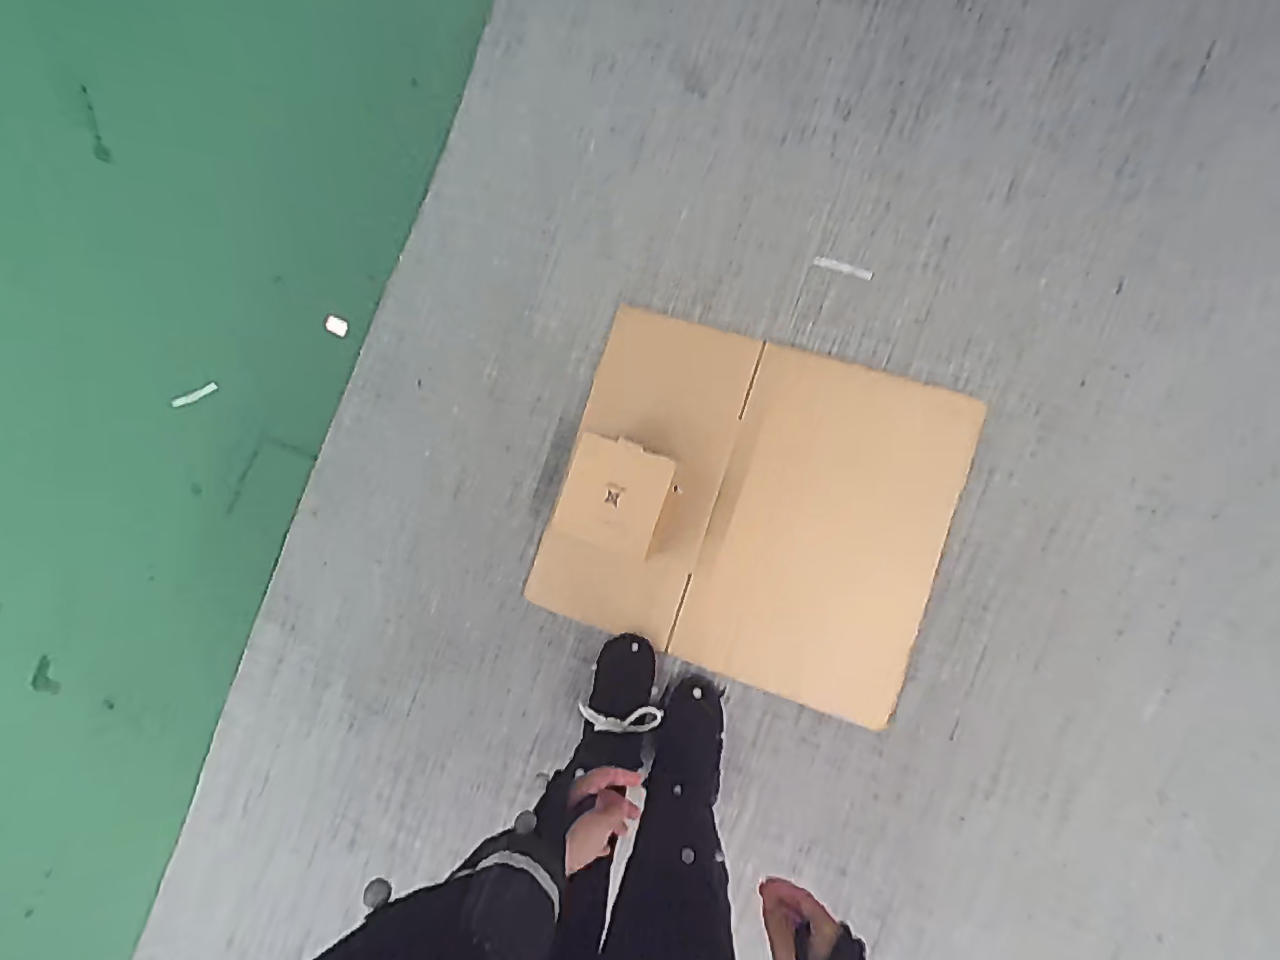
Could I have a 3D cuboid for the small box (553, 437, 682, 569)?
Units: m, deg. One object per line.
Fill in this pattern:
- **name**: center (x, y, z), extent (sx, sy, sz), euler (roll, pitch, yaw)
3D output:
- **small box**: center (-0.029, 0.040, 0.948), extent (0.168, 0.176, 0.179), euler (18, 90, 10)
